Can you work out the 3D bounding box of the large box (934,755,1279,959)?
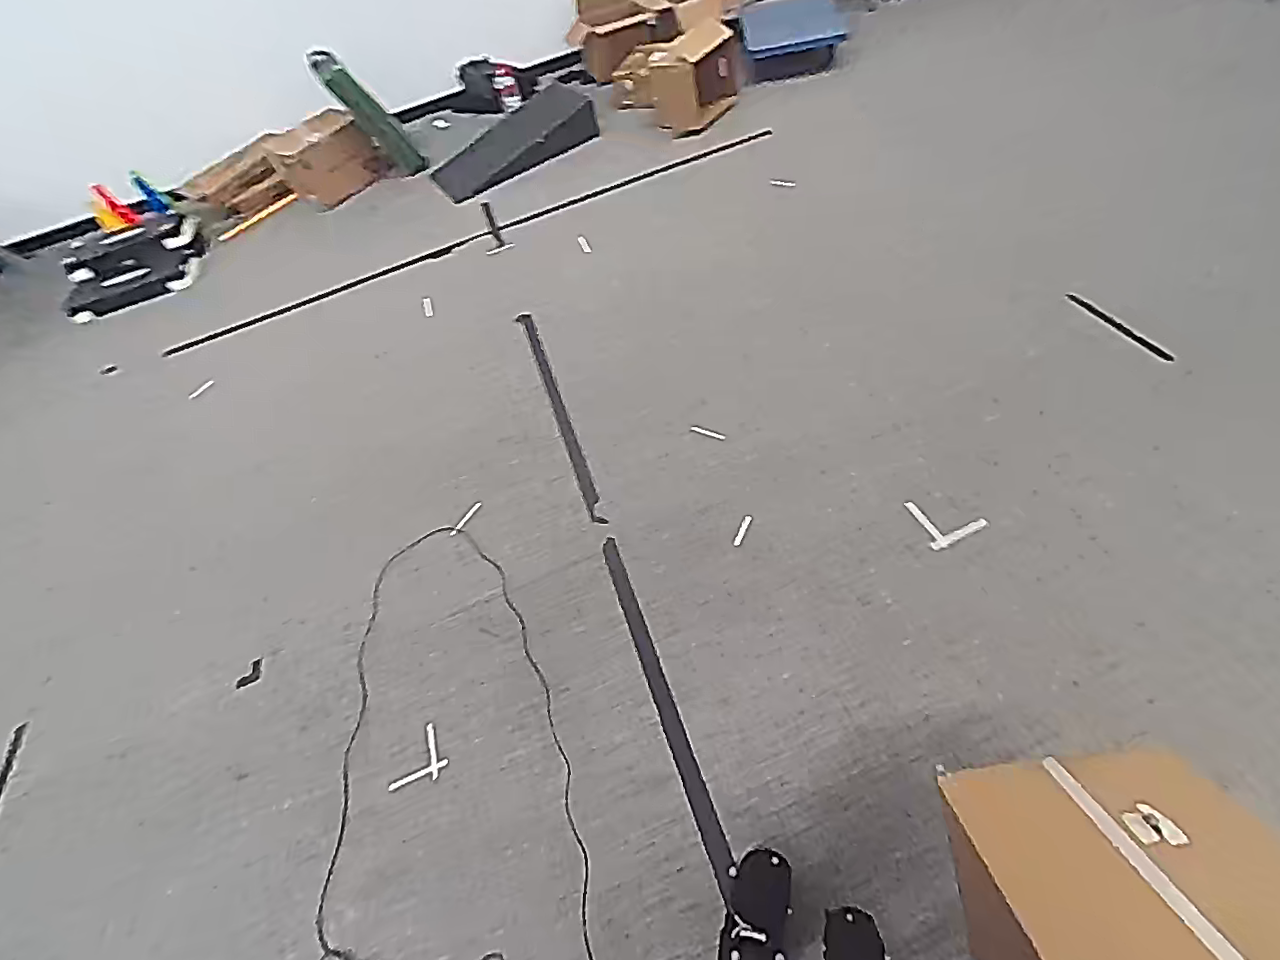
[{"bbox_3d":[0.612,0.603,0.623,0.320,0.408,0.320,-13,96,8],"label":"large box"}]
